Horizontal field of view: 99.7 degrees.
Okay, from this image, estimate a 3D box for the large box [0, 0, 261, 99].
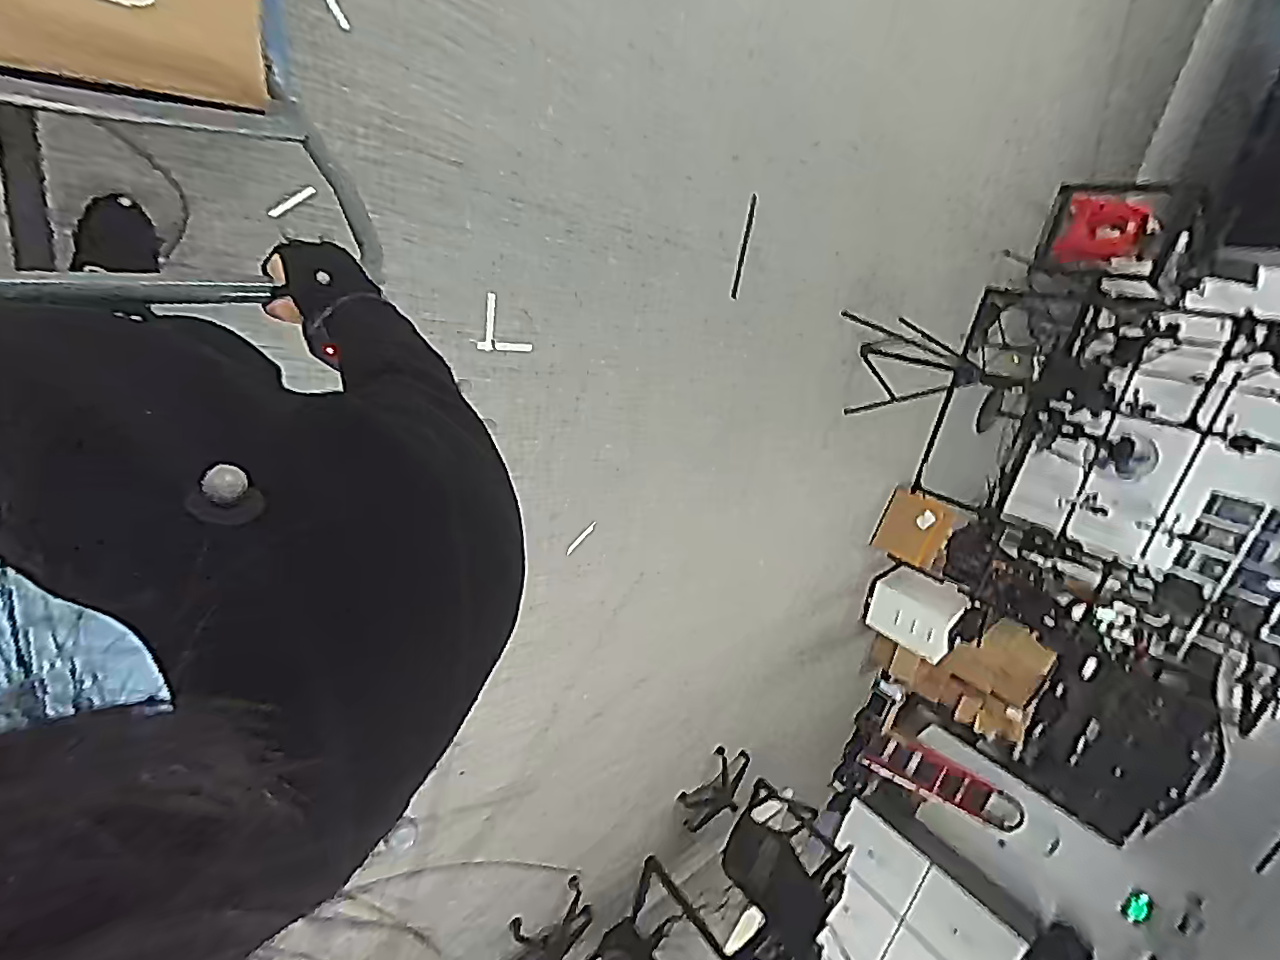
[{"bbox_3d":[-0.743,-0.705,0.636,0.408,0.320,0.320,-17,143,-38],"label":"large box"}]
